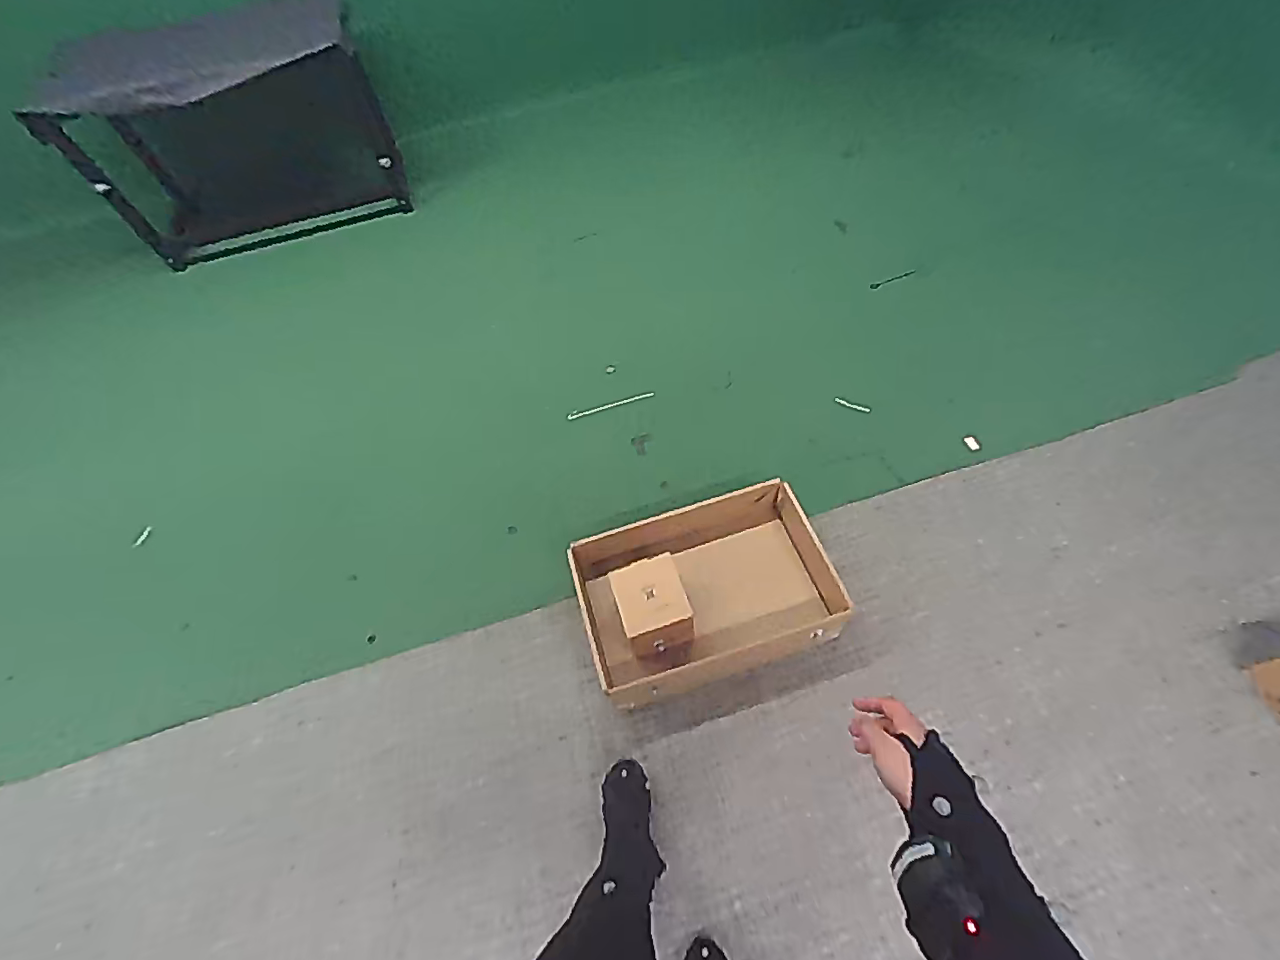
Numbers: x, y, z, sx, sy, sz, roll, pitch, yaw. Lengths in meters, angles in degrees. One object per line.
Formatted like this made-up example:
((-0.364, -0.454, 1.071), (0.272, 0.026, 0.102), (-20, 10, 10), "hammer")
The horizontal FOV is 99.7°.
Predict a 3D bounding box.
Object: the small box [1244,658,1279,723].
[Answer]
((1.502, 0.453, 1.164), (0.179, 0.176, 0.168), (-13, 55, -2), "small box")
